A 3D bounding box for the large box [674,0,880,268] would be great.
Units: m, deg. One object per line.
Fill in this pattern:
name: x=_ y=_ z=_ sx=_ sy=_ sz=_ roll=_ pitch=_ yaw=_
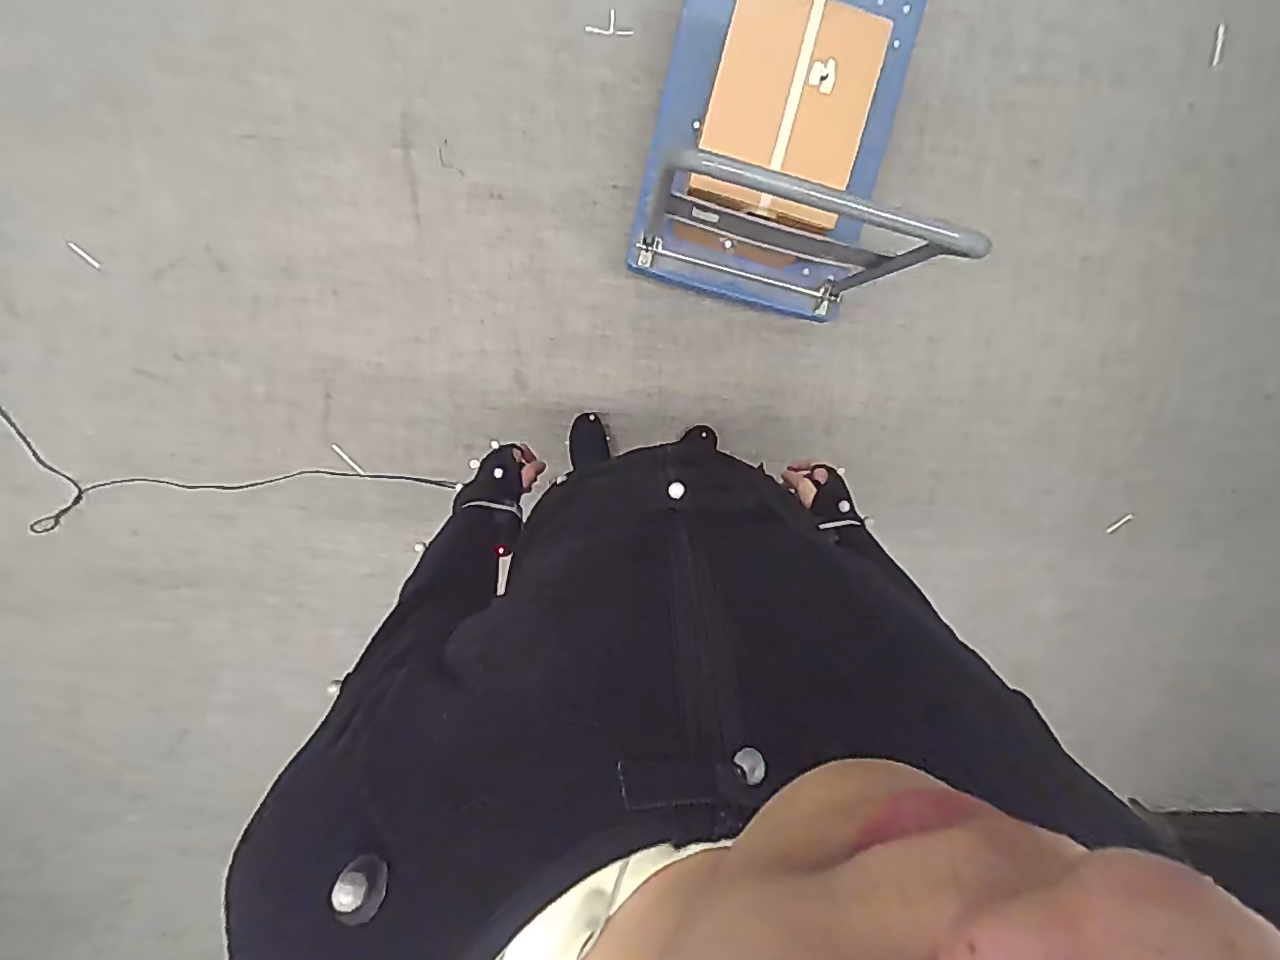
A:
large box: x=0.280 y=-0.753 z=1.228 sx=0.320 sy=0.320 sz=0.408 roll=14 pitch=95 yaw=-5
